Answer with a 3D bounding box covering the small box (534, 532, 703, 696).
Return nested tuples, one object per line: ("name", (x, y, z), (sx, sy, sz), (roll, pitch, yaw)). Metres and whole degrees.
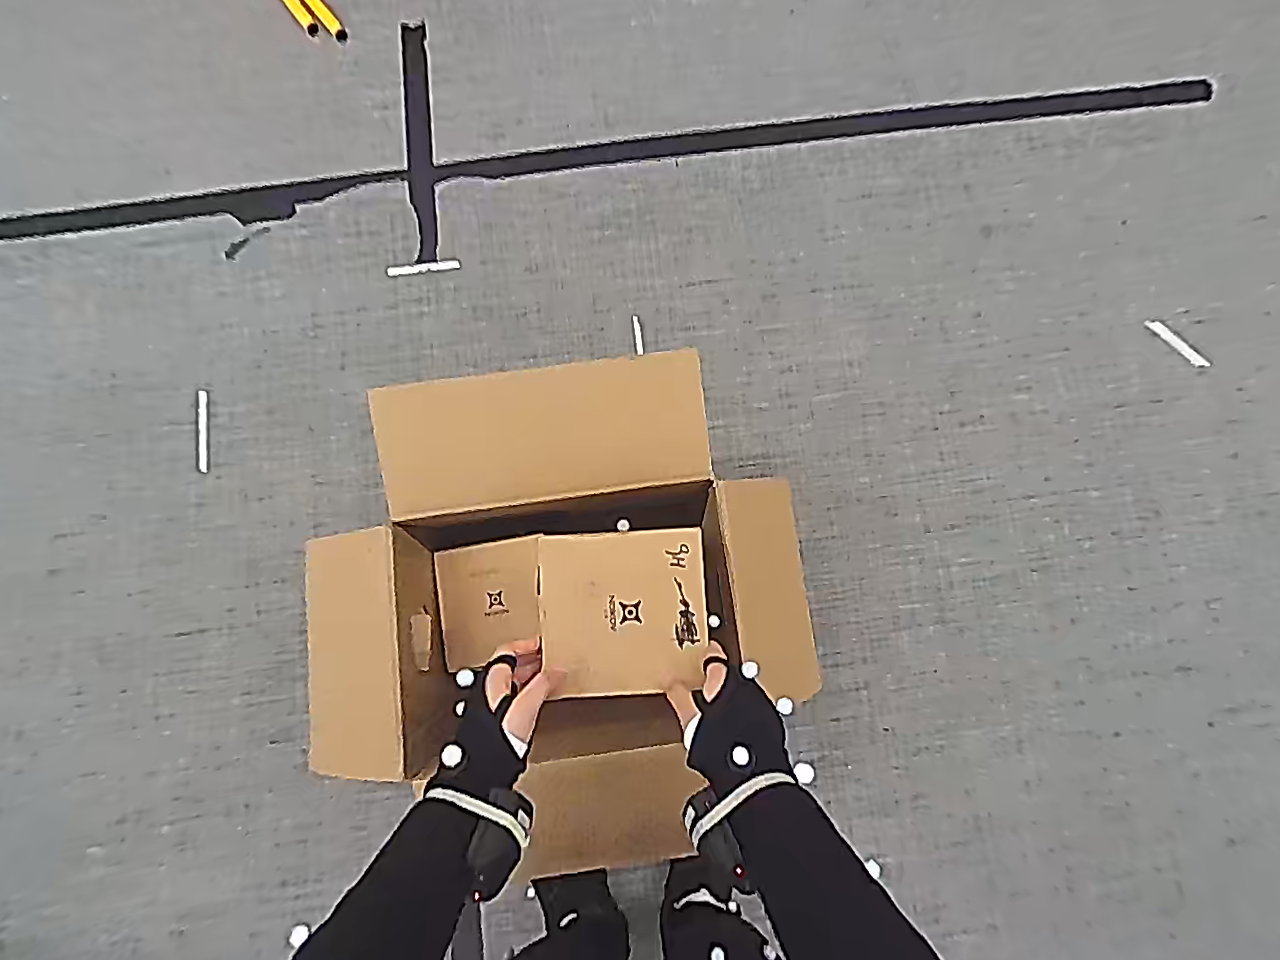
("small box", (-0.021, 0.150, 0.646), (0.179, 0.176, 0.168), (-3, 84, 1))
